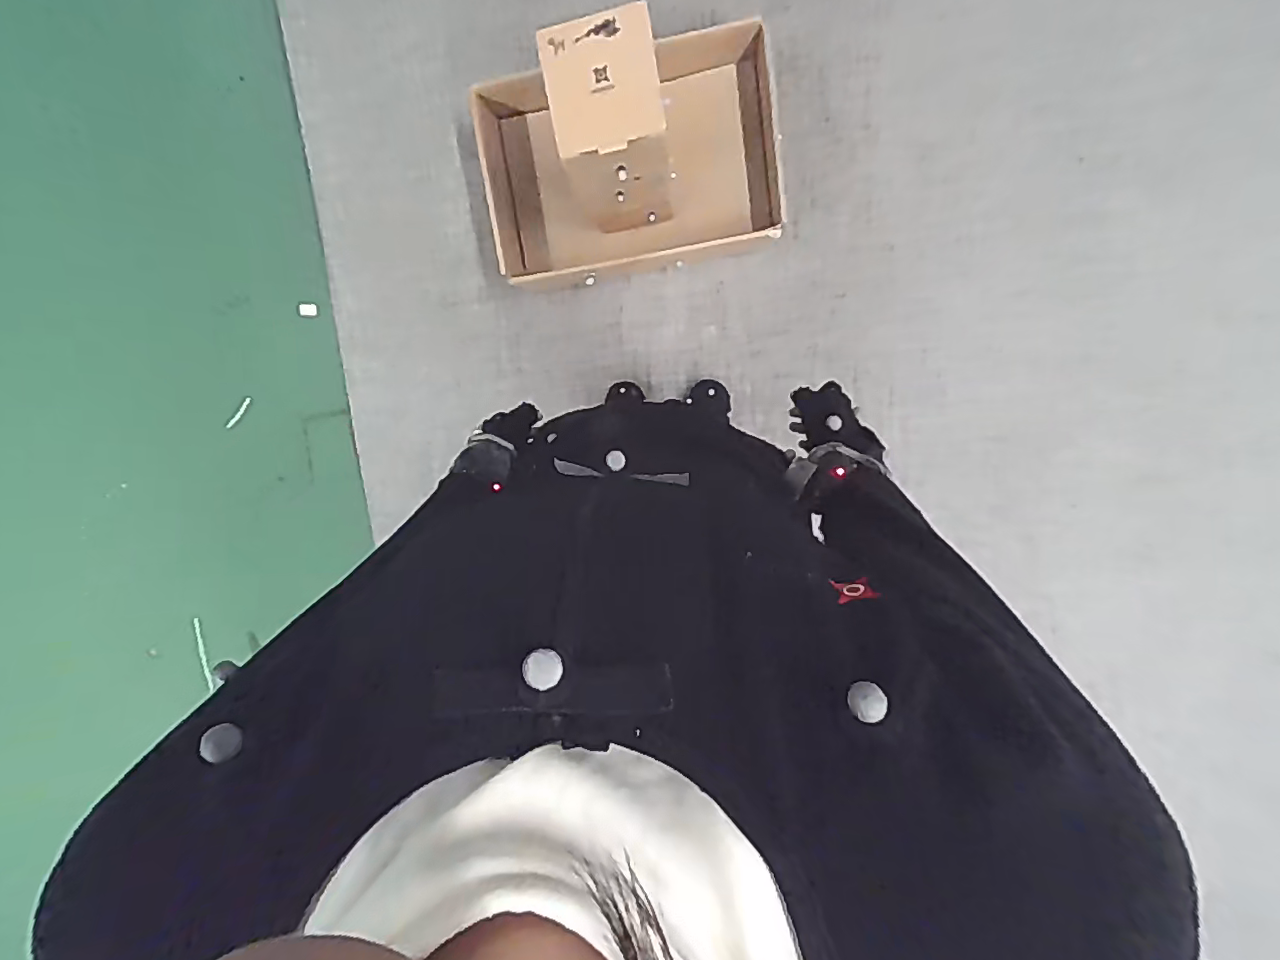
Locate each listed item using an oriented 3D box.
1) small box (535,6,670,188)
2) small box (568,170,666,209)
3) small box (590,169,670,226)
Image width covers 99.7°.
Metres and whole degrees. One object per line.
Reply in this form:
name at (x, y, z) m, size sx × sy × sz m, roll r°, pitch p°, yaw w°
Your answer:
small box at (-0.050, -0.600, 0.881) m, size 0.168 × 0.176 × 0.179 m, roll -11°, pitch 100°, yaw 9°
small box at (-0.044, -0.638, 1.037) m, size 0.179 × 0.176 × 0.168 m, roll -6°, pitch 100°, yaw 8°
small box at (-0.029, -0.673, 1.180) m, size 0.168 × 0.176 × 0.179 m, roll -8°, pitch 99°, yaw 7°
